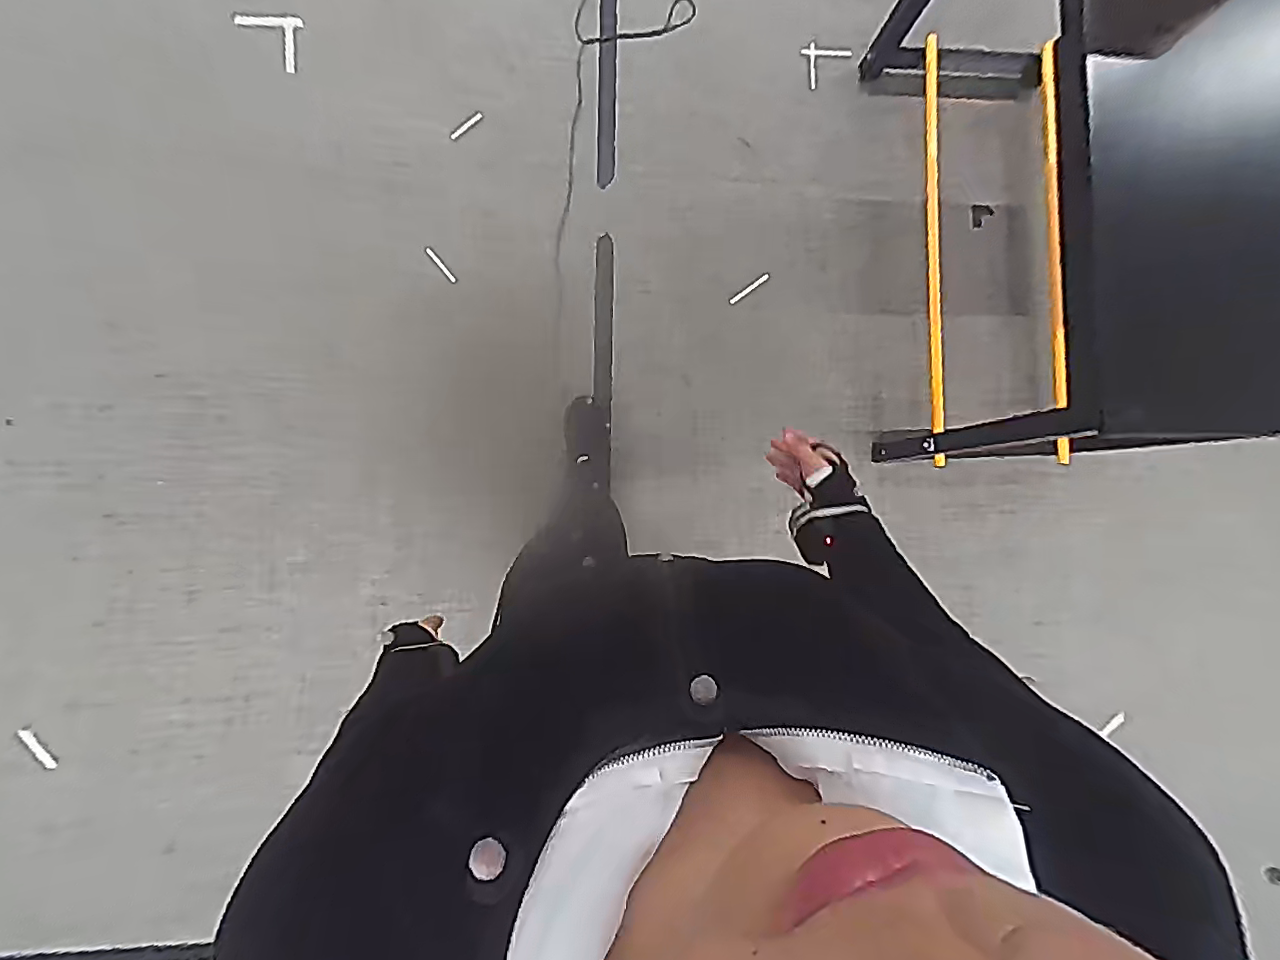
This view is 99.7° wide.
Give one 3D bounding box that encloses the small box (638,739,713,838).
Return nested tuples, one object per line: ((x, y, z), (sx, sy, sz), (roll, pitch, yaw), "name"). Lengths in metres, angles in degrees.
((0.089, 0.787, 1.396), (0.179, 0.176, 0.168), (-2, 88, -4), "small box")

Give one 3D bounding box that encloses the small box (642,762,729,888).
((0.098, 0.778, 1.234), (0.168, 0.176, 0.179), (-4, 87, -6), "small box")
